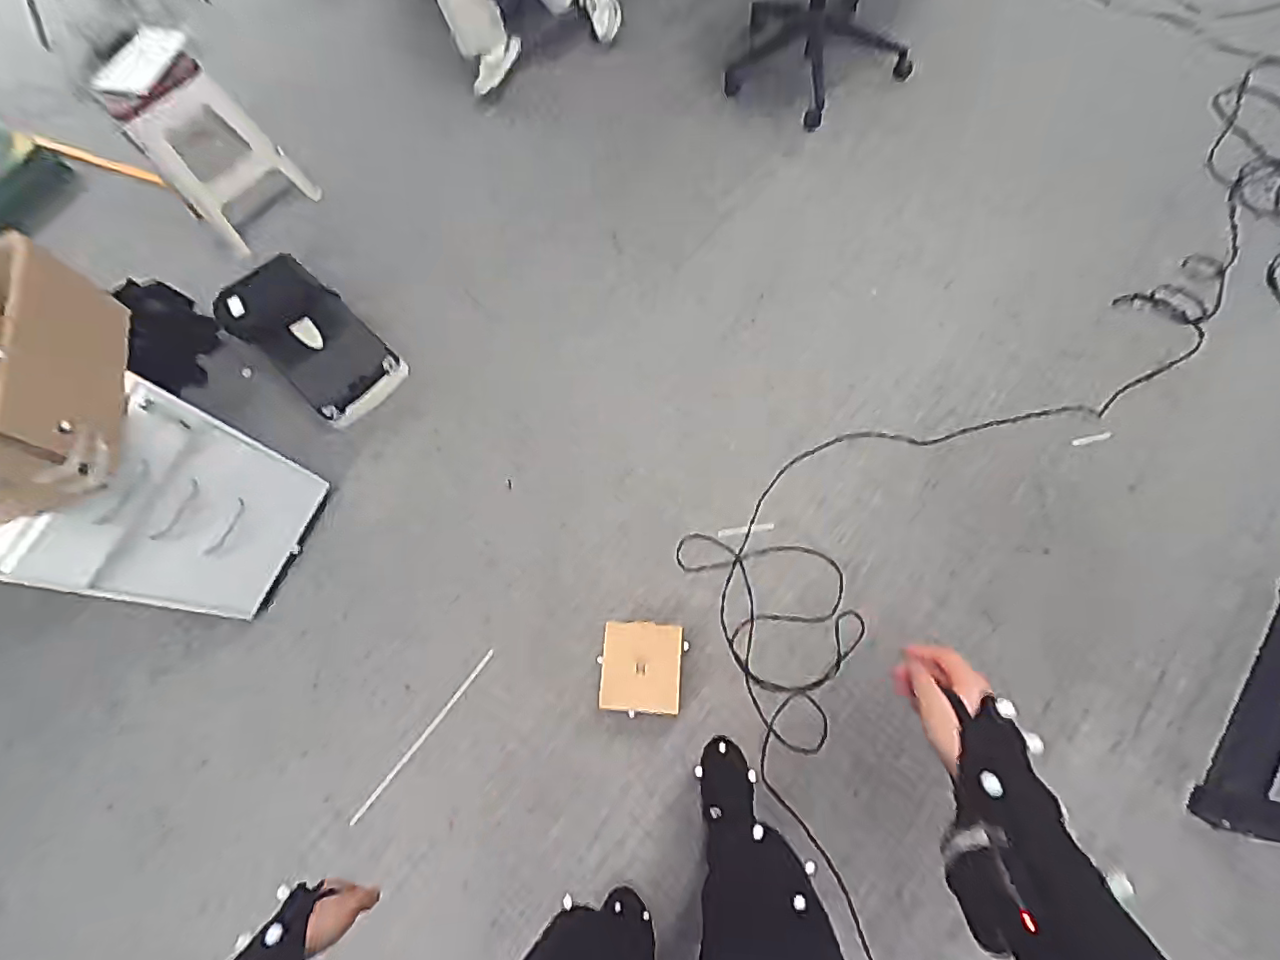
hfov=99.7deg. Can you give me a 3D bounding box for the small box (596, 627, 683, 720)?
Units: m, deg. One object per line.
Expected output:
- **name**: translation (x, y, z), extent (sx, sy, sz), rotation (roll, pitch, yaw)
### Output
- **small box**: translation (0.007, 0.429, 1.197), extent (0.168, 0.176, 0.179), rotation (1, 68, 8)
